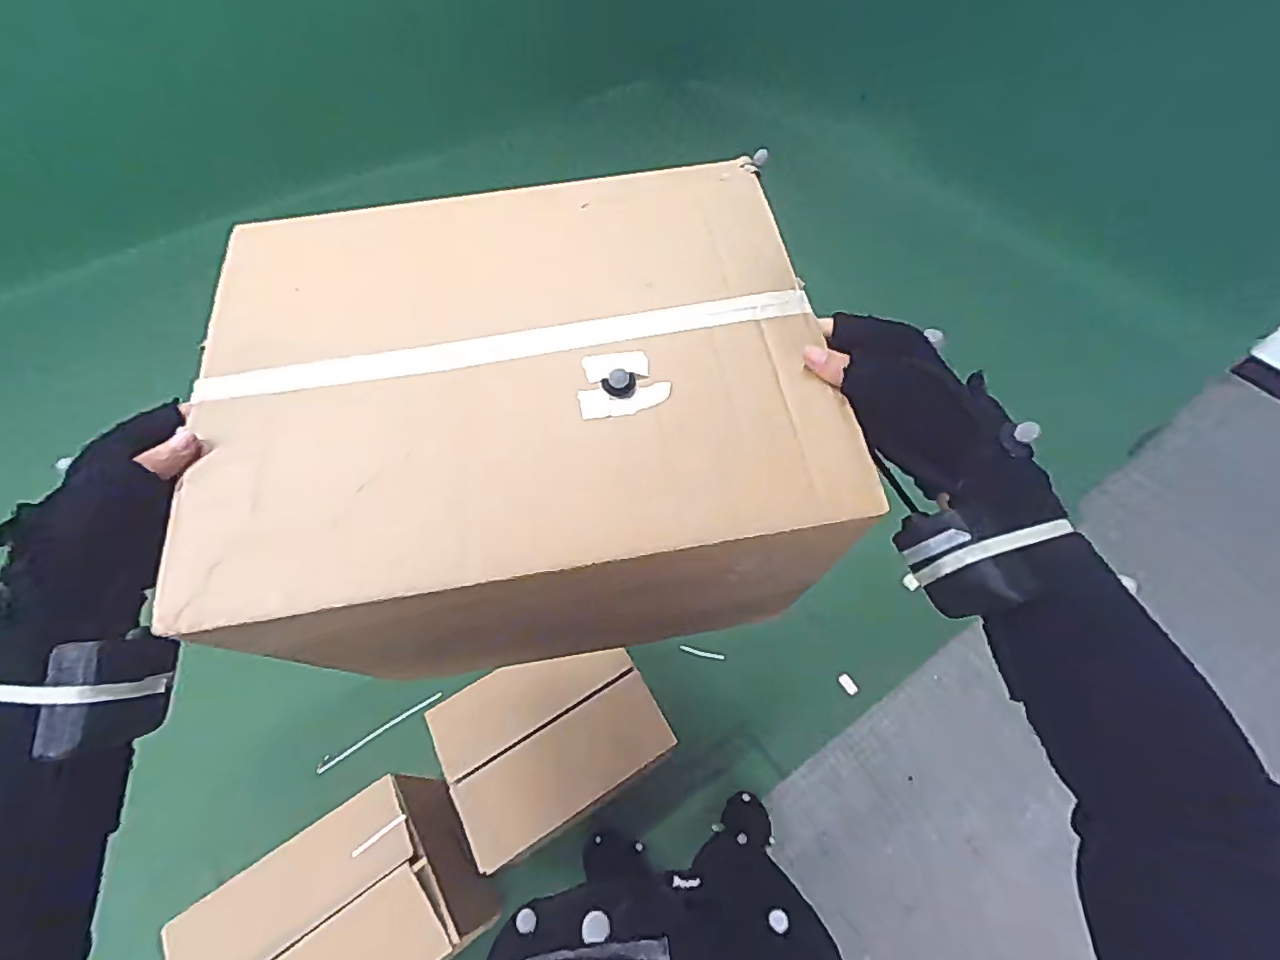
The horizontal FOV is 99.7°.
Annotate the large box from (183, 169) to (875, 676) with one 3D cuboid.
[{"bbox_3d":[-0.079,-0.026,0.502,0.408,0.320,0.320,-9,65,-4],"label":"large box"}]
